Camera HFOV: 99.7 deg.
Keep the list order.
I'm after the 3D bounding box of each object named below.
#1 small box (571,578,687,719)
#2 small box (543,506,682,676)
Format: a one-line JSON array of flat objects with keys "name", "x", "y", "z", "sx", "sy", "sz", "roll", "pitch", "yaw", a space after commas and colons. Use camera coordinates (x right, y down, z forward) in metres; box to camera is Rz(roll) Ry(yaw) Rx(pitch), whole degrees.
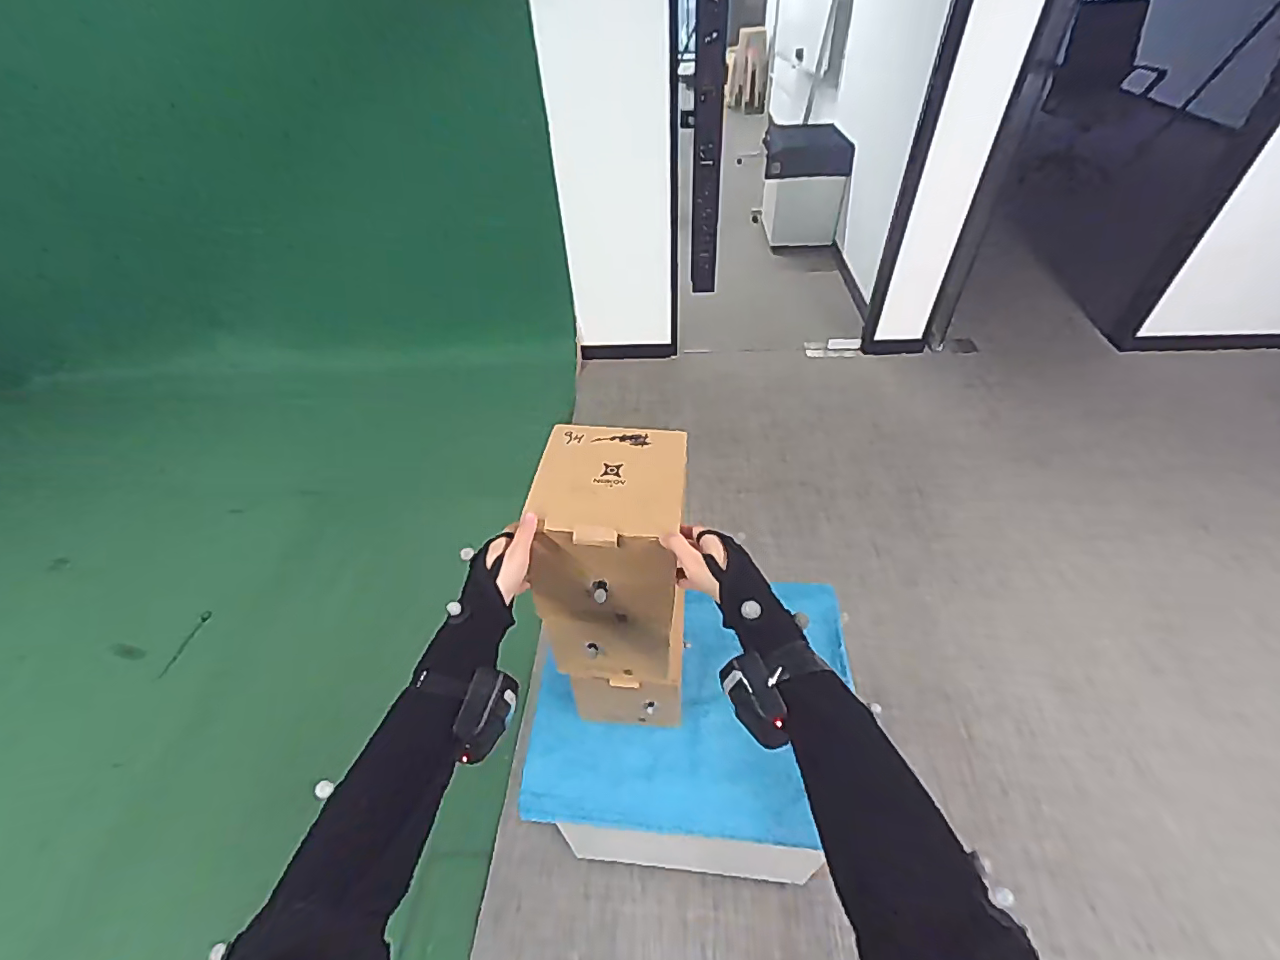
[{"name": "small box", "x": -0.009, "y": 0.275, "z": 0.893, "sx": 0.168, "sy": 0.176, "sz": 0.179, "roll": 3, "pitch": 45, "yaw": 5}, {"name": "small box", "x": -0.027, "y": 0.161, "z": 0.779, "sx": 0.168, "sy": 0.176, "sz": 0.179, "roll": 4, "pitch": 44, "yaw": 6}]
